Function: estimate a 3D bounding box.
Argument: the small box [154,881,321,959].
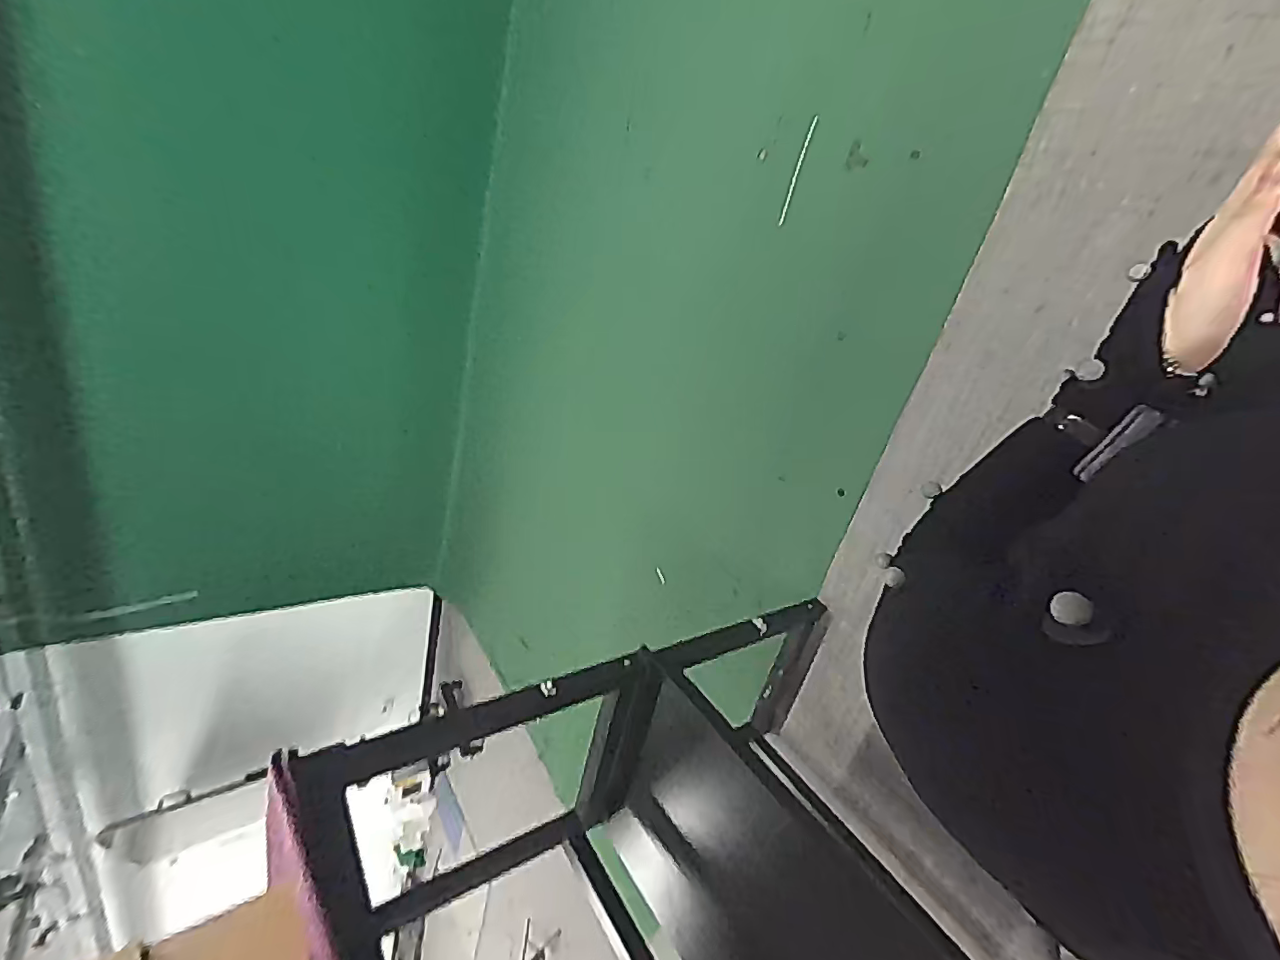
[{"bbox_3d":[-0.519,0.692,0.715,0.179,0.176,0.168,44,127,39],"label":"small box"}]
